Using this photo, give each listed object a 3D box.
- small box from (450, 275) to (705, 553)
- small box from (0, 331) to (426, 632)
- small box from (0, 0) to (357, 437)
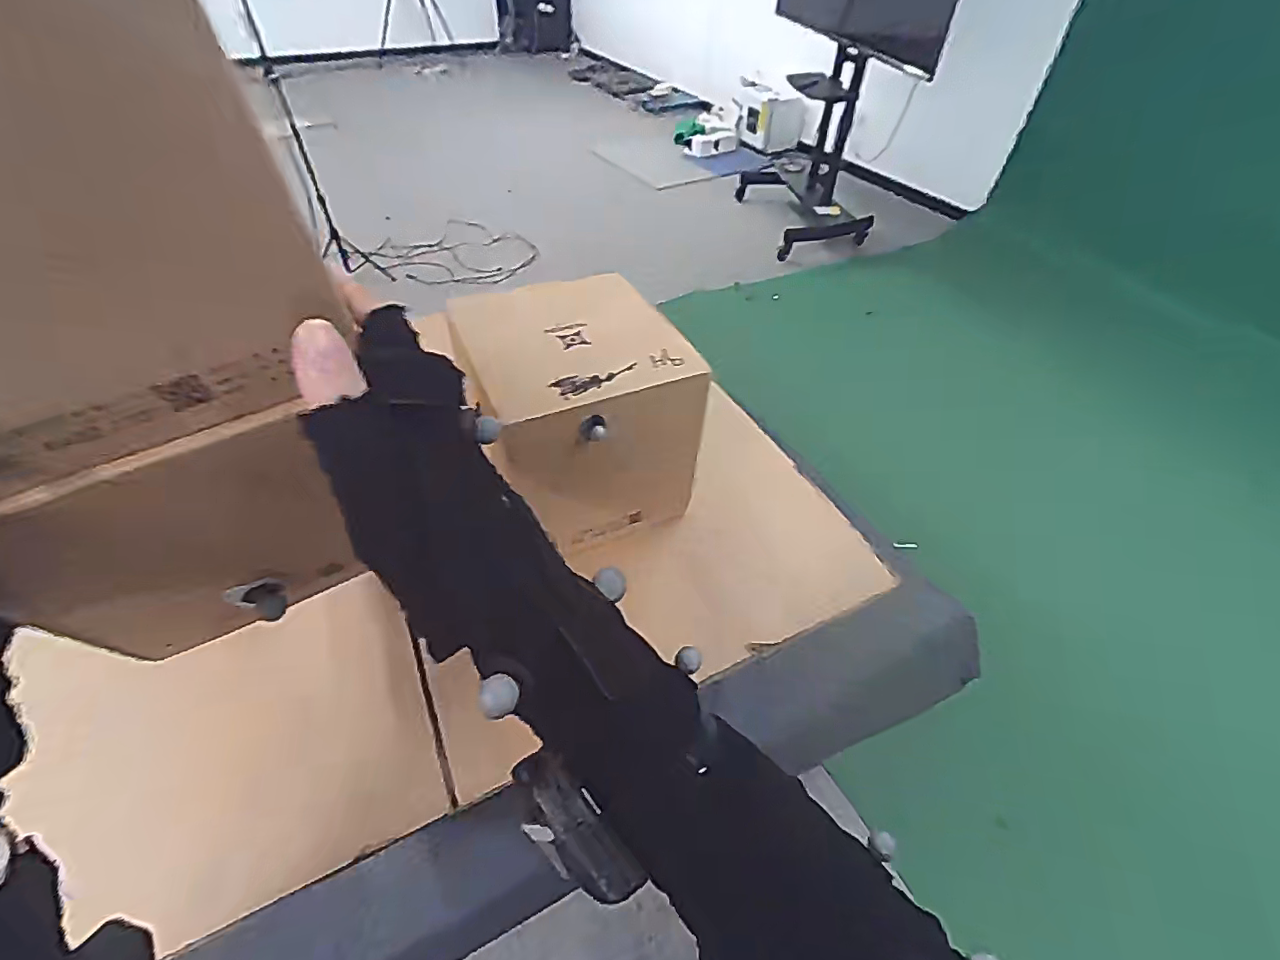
[{"bbox_3d":[-0.062,-0.065,0.501,0.168,0.176,0.179,-18,49,-20],"label":"small box"},{"bbox_3d":[-0.238,-0.047,0.291,0.168,0.176,0.179,-26,68,-21],"label":"small box"},{"bbox_3d":[-0.218,-0.125,0.167,0.168,0.176,0.179,-27,67,-21],"label":"small box"}]
